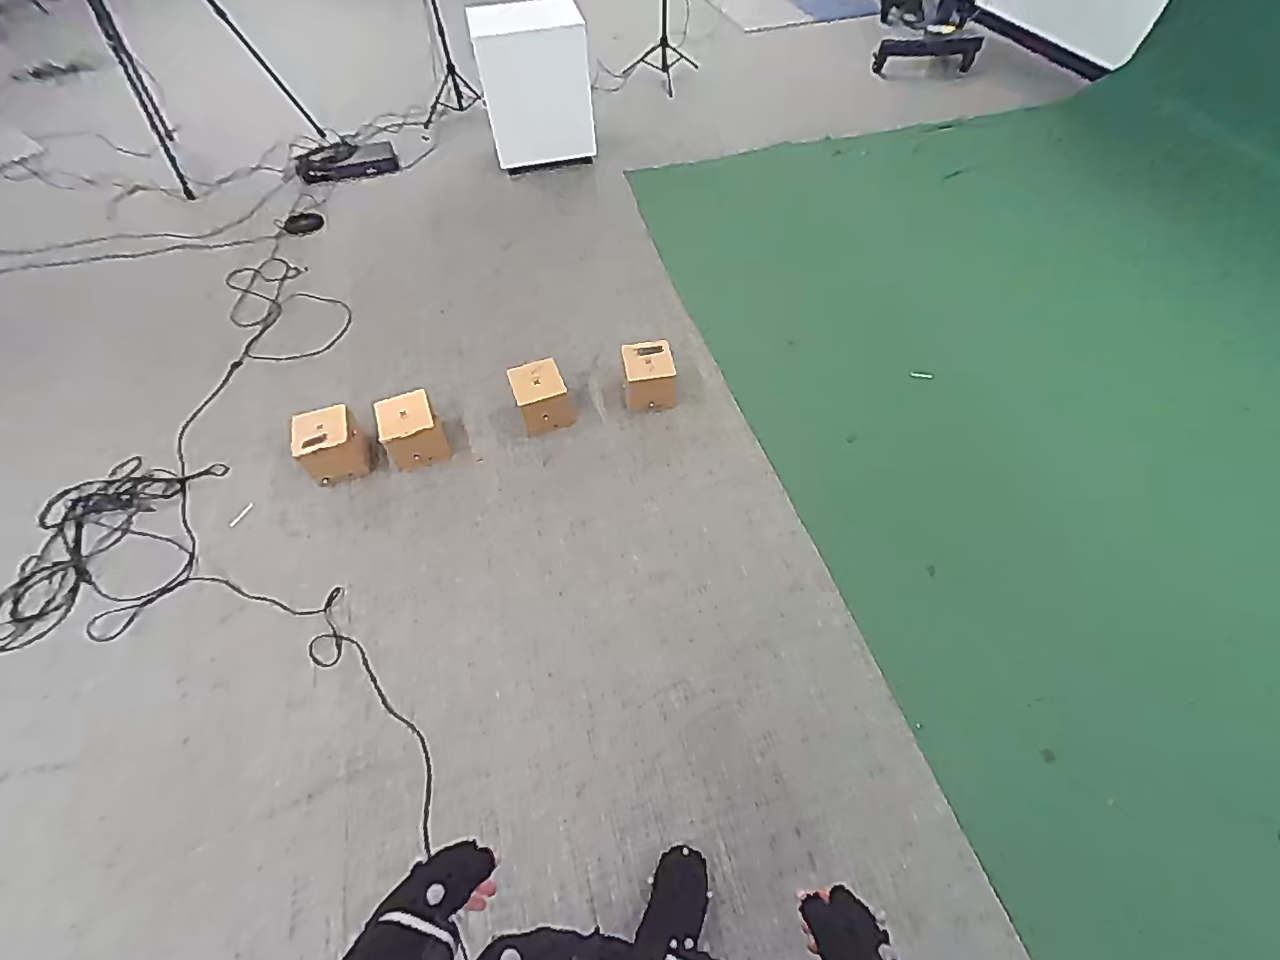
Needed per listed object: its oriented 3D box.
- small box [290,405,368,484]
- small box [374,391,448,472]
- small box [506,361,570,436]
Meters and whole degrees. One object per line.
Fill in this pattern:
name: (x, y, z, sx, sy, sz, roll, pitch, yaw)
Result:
small box: (-0.997, -0.107, 1.745, 0.168, 0.176, 0.179, -17, 56, -10)
small box: (-0.748, -0.156, 1.774, 0.168, 0.176, 0.179, -20, 59, -11)
small box: (-0.343, -0.271, 1.843, 0.168, 0.176, 0.179, -18, 58, -12)
